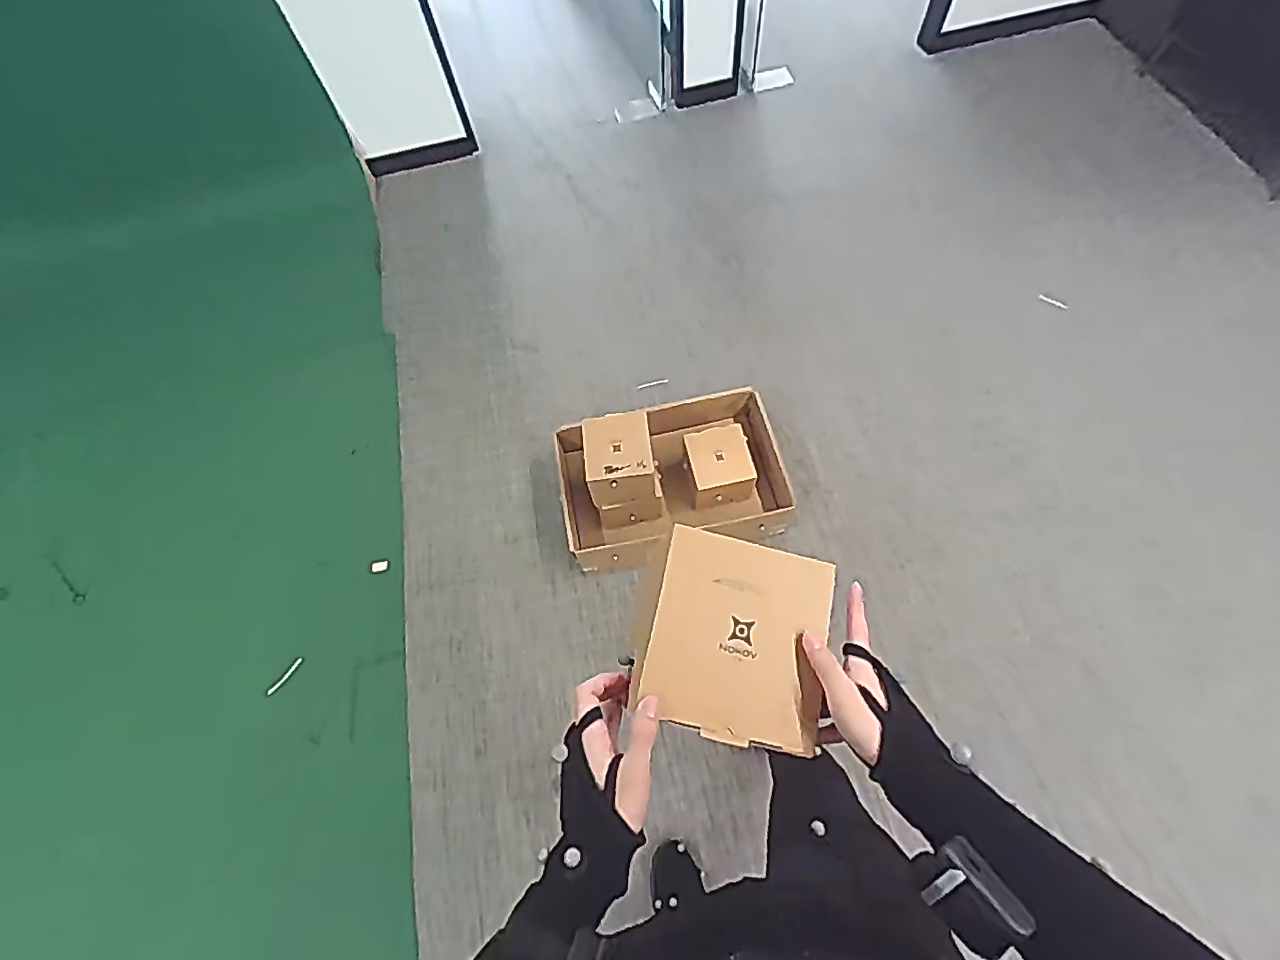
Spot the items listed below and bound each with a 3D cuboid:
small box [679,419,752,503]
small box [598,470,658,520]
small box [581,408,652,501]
[{"bbox_3d":[0.213,-0.047,1.558,0.168,0.176,0.179,-13,66,-2],"label":"small box"},{"bbox_3d":[-0.045,0.005,1.548,0.168,0.176,0.179,-12,66,-3],"label":"small box"},{"bbox_3d":[-0.058,-0.064,1.399,0.168,0.176,0.179,-7,65,0],"label":"small box"}]
